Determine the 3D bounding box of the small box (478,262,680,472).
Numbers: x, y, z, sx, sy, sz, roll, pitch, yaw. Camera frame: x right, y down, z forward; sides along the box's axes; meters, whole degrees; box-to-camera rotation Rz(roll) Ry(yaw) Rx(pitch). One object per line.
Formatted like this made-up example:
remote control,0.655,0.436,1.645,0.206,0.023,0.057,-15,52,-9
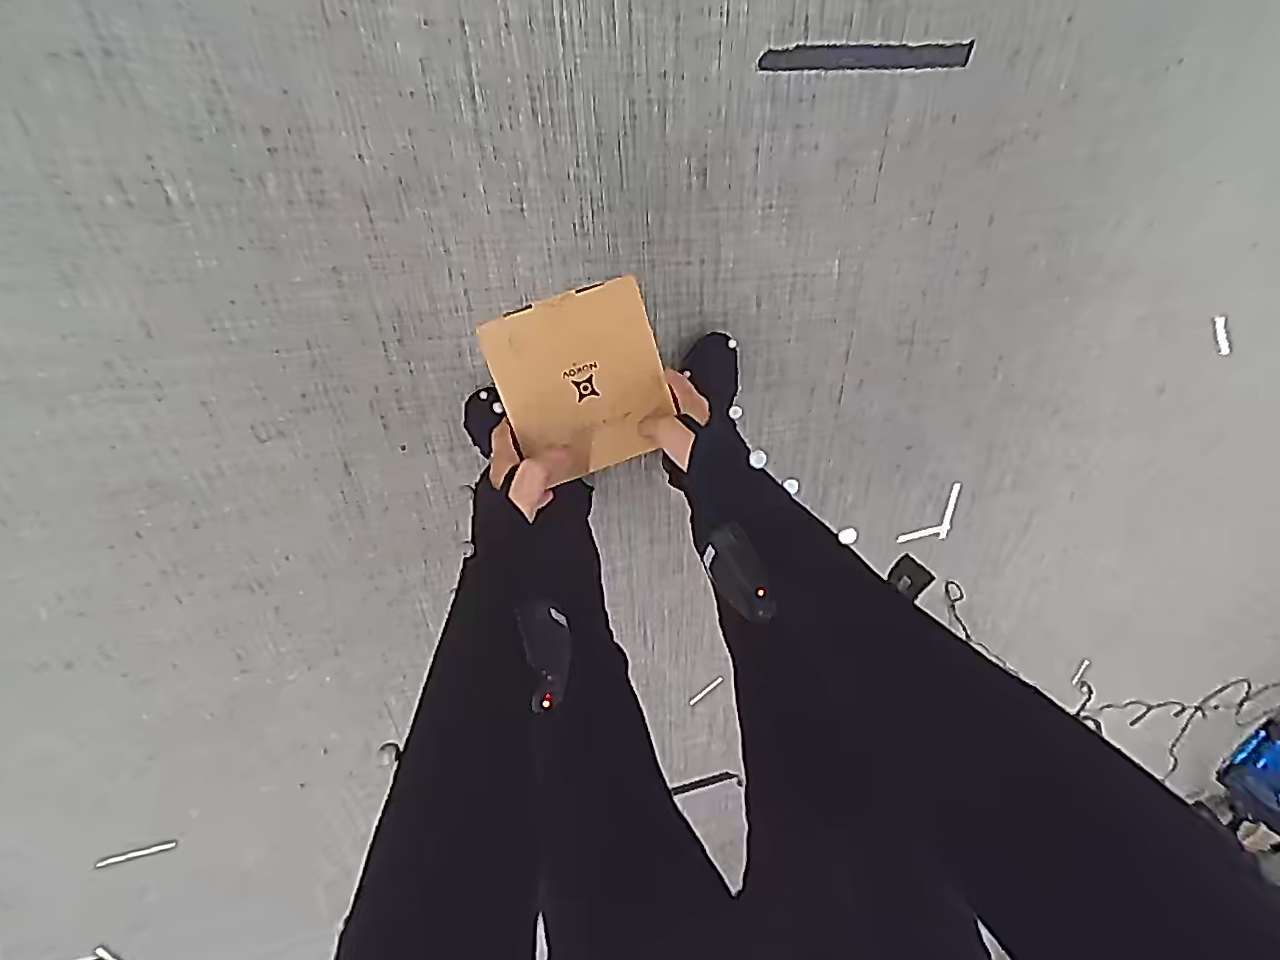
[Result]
small box,-0.071,-0.125,0.622,0.168,0.176,0.179,-19,103,-5
